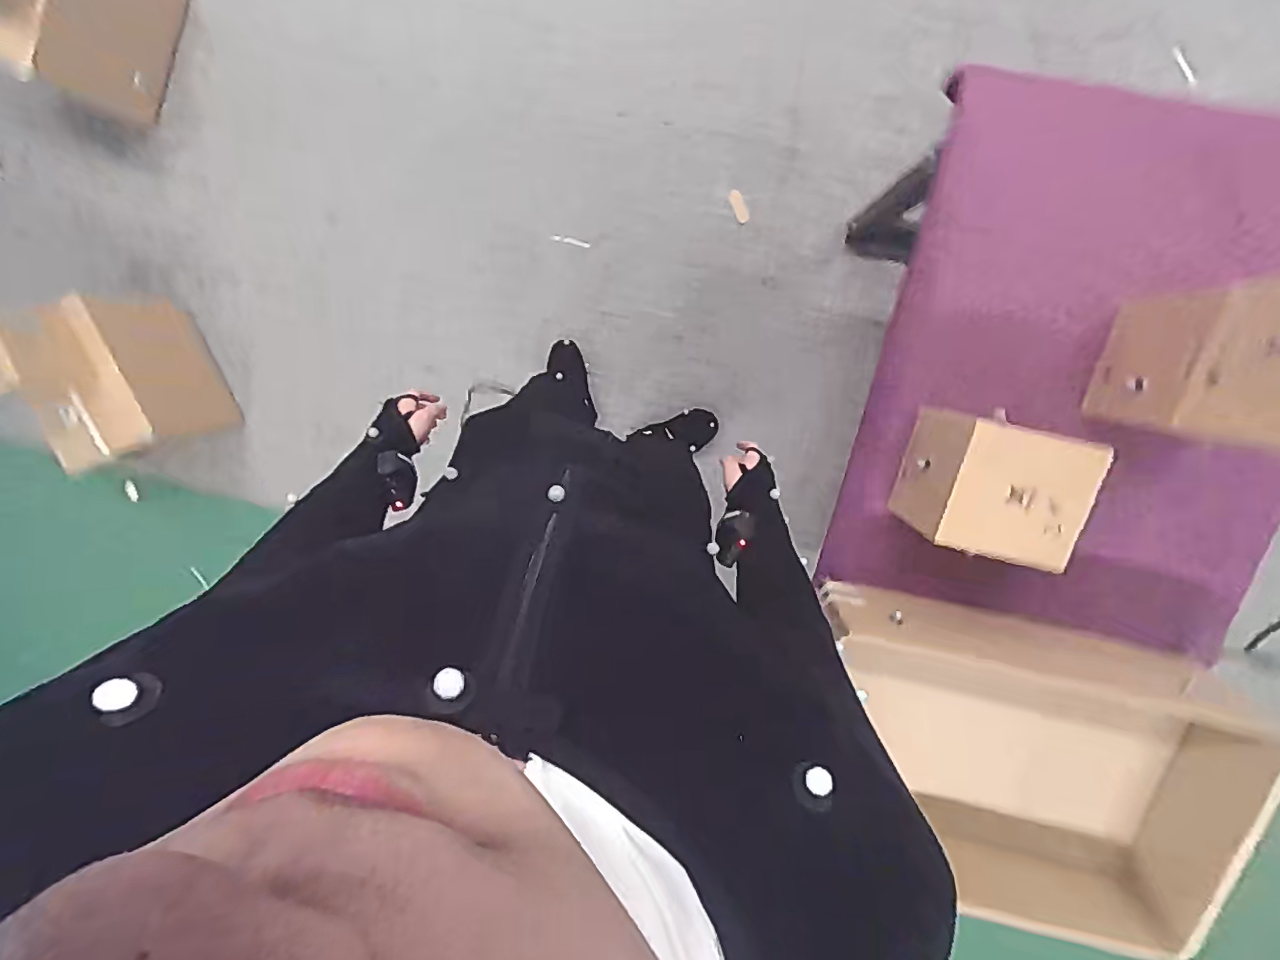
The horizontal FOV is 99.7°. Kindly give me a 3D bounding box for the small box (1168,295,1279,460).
[{"bbox_3d":[0.729,-0.098,0.563,0.179,0.176,0.168,12,104,2],"label":"small box"}]

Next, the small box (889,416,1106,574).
[{"bbox_3d":[0.487,0.010,0.772,0.179,0.176,0.168,14,104,1],"label":"small box"}]

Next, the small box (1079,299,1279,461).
[{"bbox_3d":[0.748,-0.132,0.720,0.179,0.176,0.168,13,105,2],"label":"small box"}]

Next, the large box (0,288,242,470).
[{"bbox_3d":[-1.484,-0.291,1.565,0.320,0.320,0.408,-19,101,10],"label":"large box"}]
